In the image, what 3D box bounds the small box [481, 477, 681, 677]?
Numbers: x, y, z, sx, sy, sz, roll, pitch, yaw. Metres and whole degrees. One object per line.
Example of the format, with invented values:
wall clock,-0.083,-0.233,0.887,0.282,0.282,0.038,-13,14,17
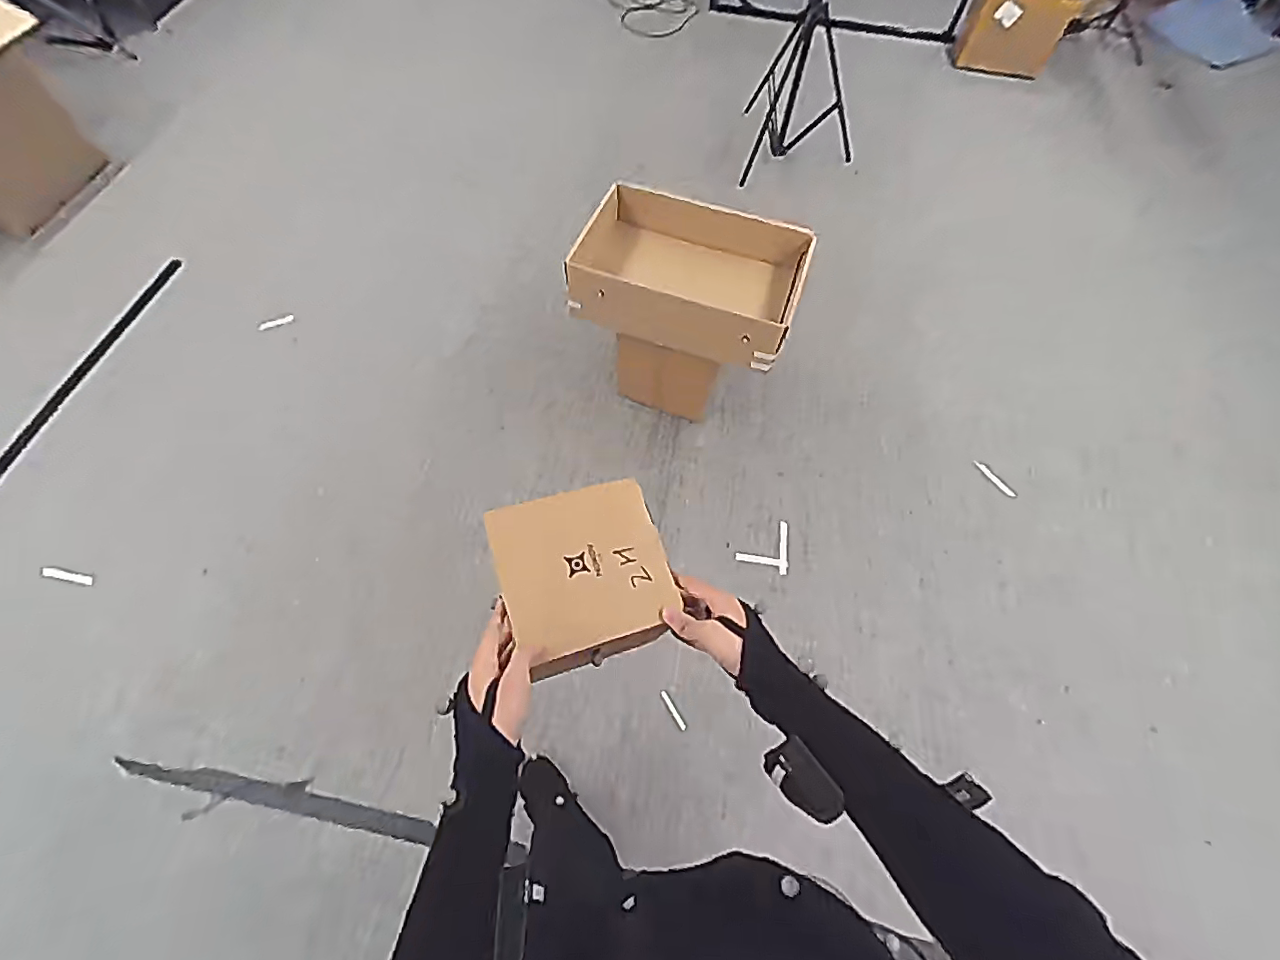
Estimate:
small box,-0.076,0.119,0.631,0.179,0.176,0.168,-13,69,-18
